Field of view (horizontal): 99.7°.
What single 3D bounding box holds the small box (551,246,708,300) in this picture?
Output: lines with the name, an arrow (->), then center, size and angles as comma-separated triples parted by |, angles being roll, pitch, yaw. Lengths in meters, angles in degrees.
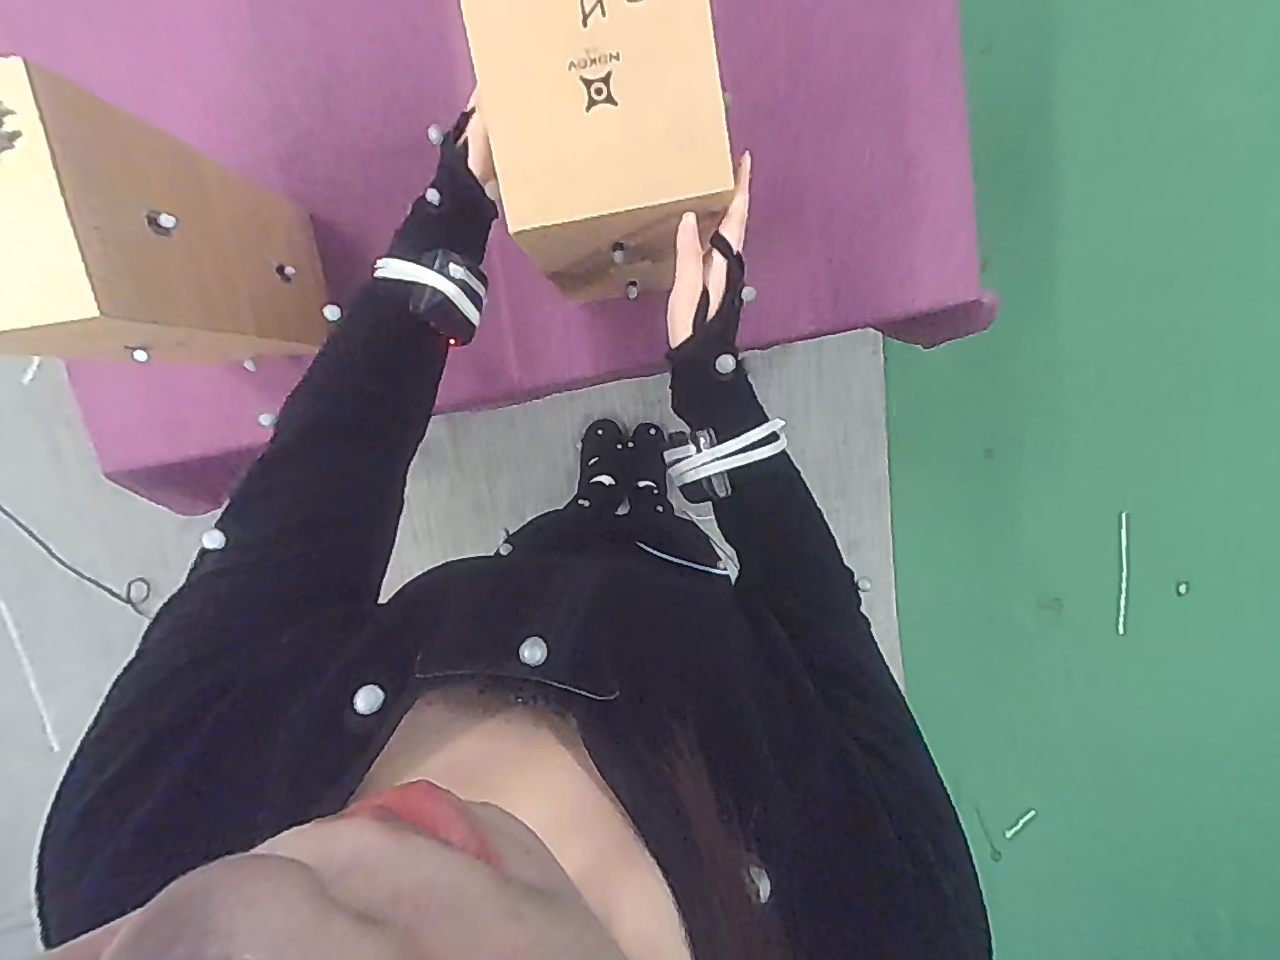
small box -> -0.022, -0.310, 0.617 | 0.168, 0.176, 0.179 | -10, 100, 1

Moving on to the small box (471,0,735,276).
small box -> -0.023, -0.282, 0.454 | 0.168, 0.176, 0.179 | -10, 99, 1

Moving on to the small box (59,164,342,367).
small box -> -0.482, -0.230, 0.624 | 0.168, 0.176, 0.179 | -8, 101, 1
